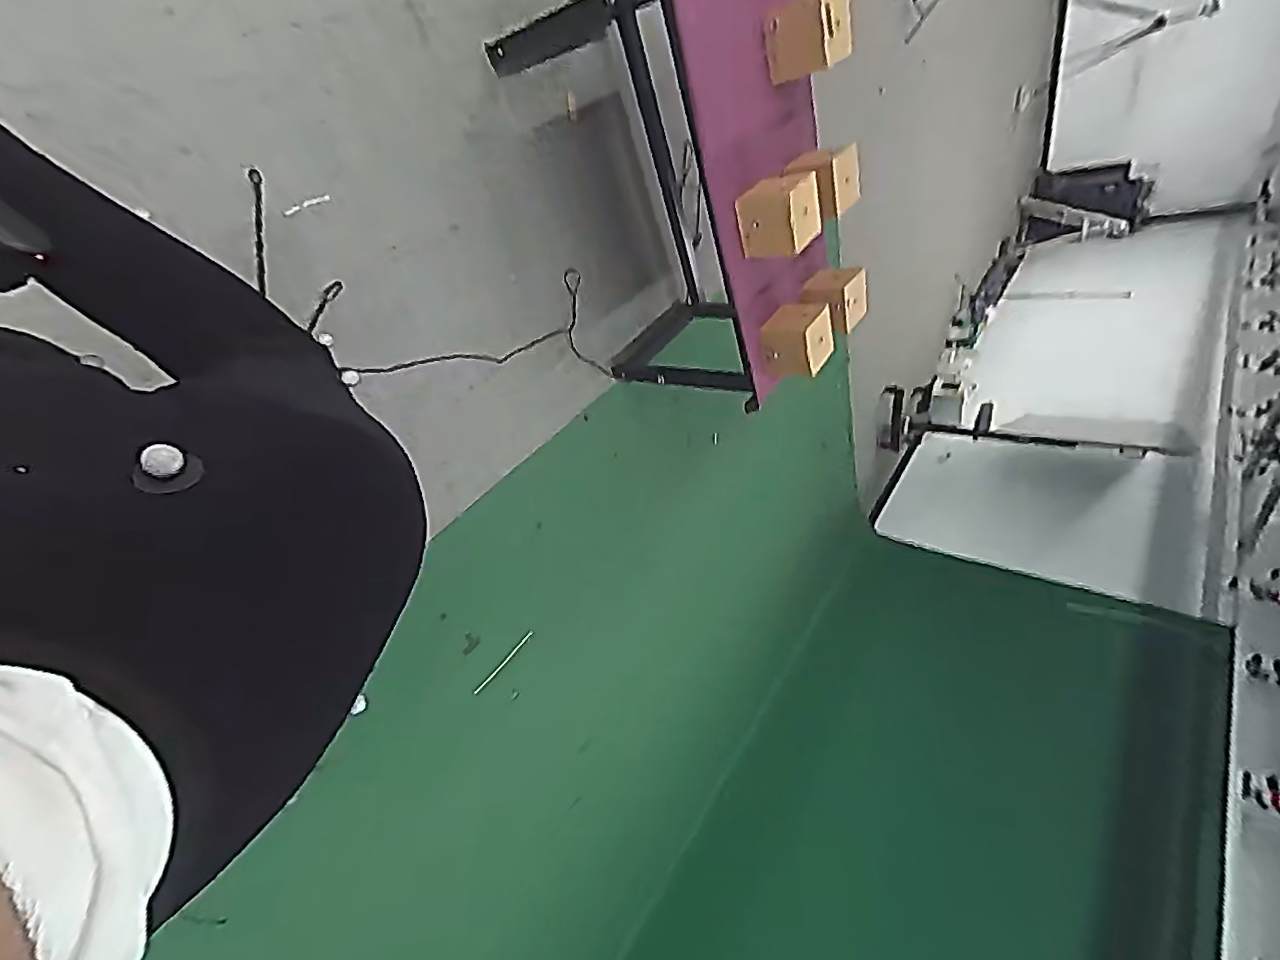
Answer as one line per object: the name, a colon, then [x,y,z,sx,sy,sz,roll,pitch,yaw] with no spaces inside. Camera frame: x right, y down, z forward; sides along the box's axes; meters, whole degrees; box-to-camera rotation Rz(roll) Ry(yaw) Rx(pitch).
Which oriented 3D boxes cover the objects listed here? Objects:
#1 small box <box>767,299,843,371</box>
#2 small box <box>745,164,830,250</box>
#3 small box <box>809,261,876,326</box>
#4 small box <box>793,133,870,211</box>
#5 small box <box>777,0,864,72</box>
small box: [0.541,-0.478,1.770,0.179,0.176,0.168,-47,131,-28]
small box: [0.422,-0.778,1.546,0.179,0.176,0.168,-47,133,-29]
small box: [0.719,-0.662,1.921,0.179,0.176,0.168,-45,131,-30]
small box: [0.600,-0.957,1.693,0.179,0.176,0.168,-46,131,-29]
small box: [0.484,-1.242,1.464,0.179,0.176,0.168,-47,133,-29]
